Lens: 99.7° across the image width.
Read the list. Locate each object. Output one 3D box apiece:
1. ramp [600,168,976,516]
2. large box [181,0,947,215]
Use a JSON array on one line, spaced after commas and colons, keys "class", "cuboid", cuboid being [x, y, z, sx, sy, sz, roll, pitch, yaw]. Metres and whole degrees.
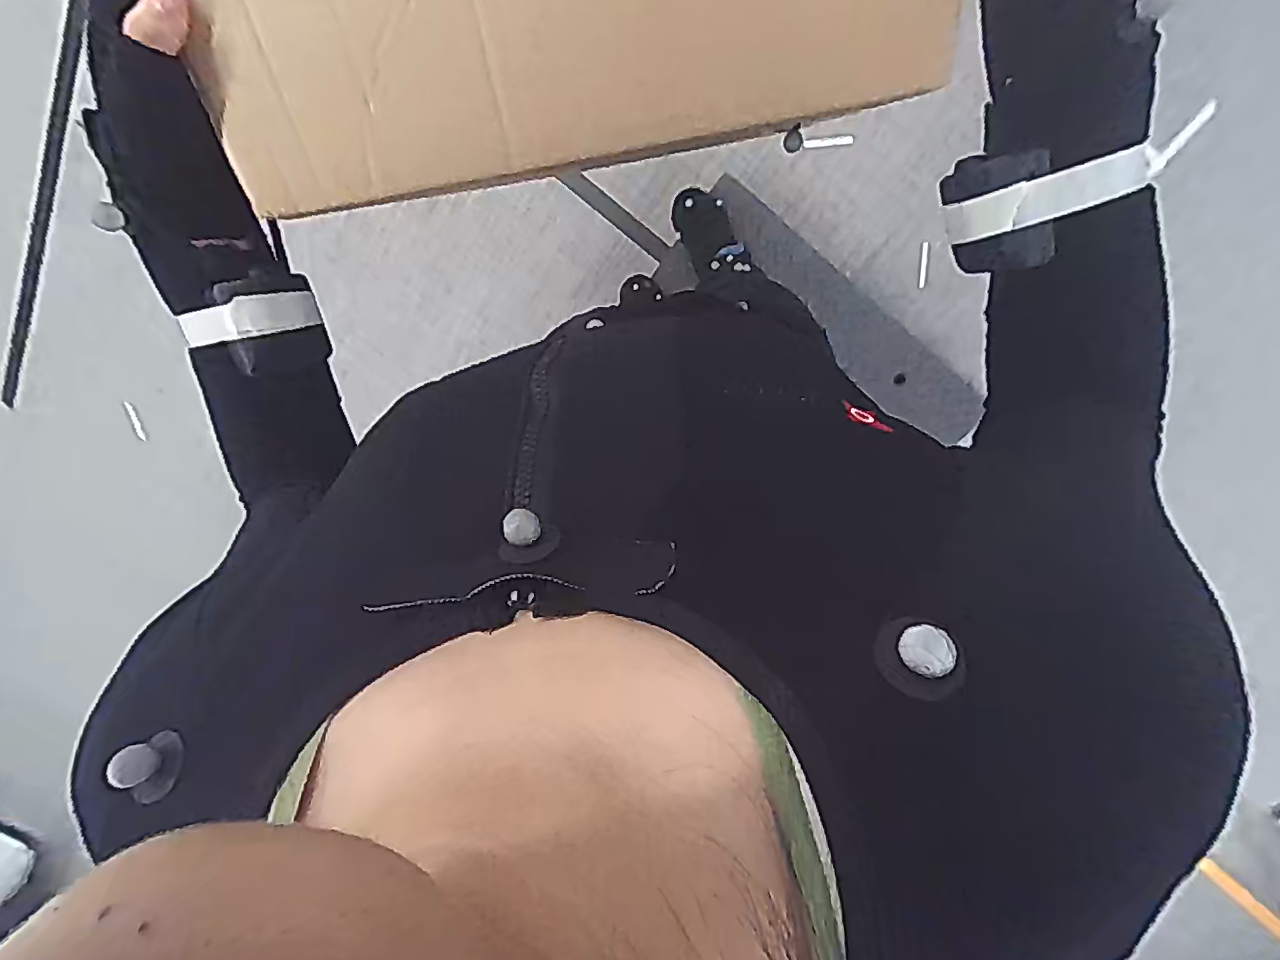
[{"class": "ramp", "cuboid": [0.432, -0.302, 1.480, 0.991, 0.206, 0.509, 34, 111, -9]}, {"class": "large box", "cuboid": [-0.048, -0.397, 0.370, 0.408, 0.320, 0.320, -6, 120, 6]}]
